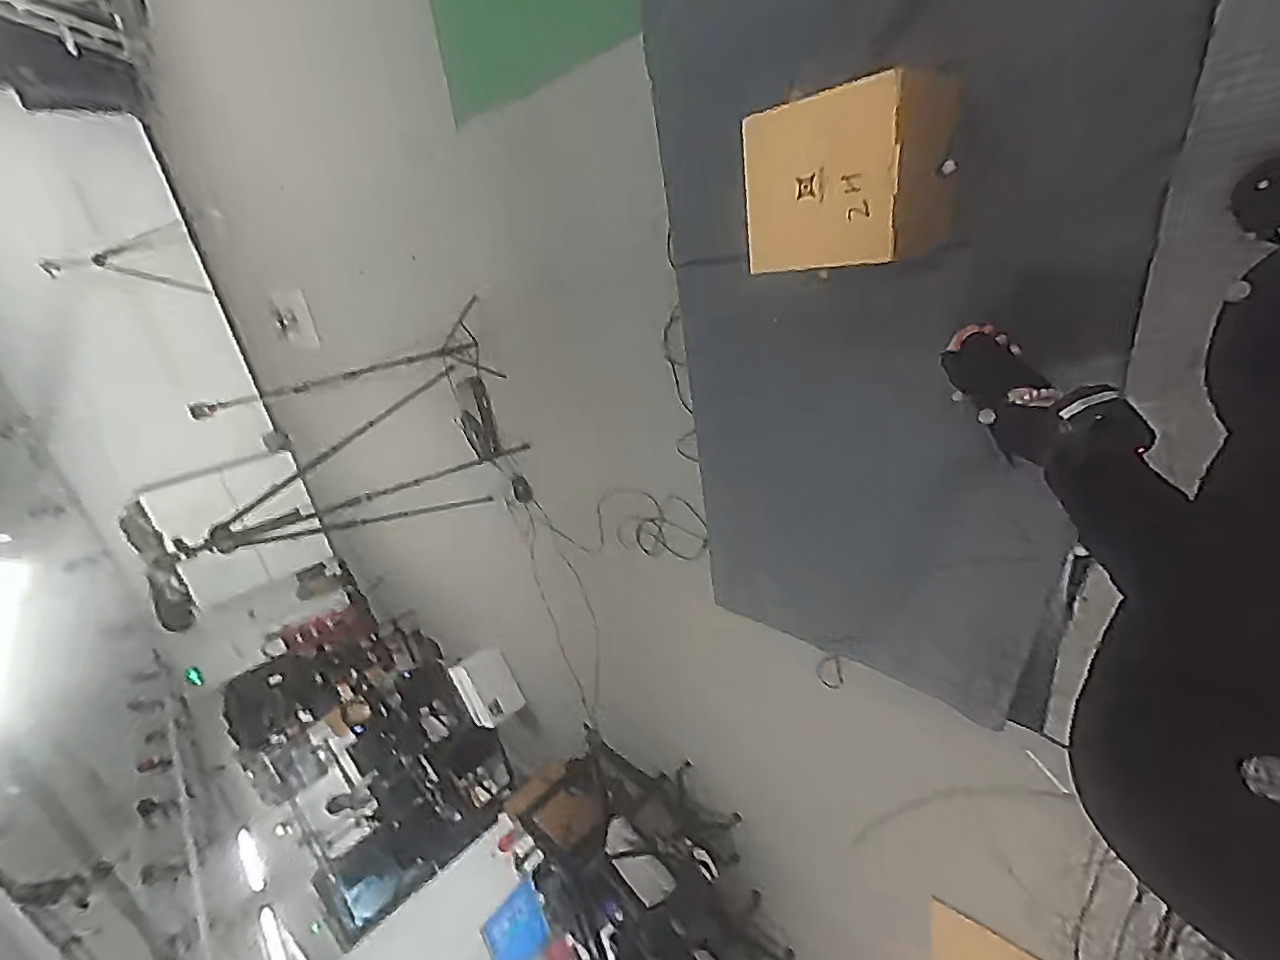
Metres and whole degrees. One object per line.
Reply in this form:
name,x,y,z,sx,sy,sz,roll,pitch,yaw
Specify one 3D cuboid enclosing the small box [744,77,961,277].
small box,0.244,-0.337,0.629,0.179,0.176,0.168,14,122,43
